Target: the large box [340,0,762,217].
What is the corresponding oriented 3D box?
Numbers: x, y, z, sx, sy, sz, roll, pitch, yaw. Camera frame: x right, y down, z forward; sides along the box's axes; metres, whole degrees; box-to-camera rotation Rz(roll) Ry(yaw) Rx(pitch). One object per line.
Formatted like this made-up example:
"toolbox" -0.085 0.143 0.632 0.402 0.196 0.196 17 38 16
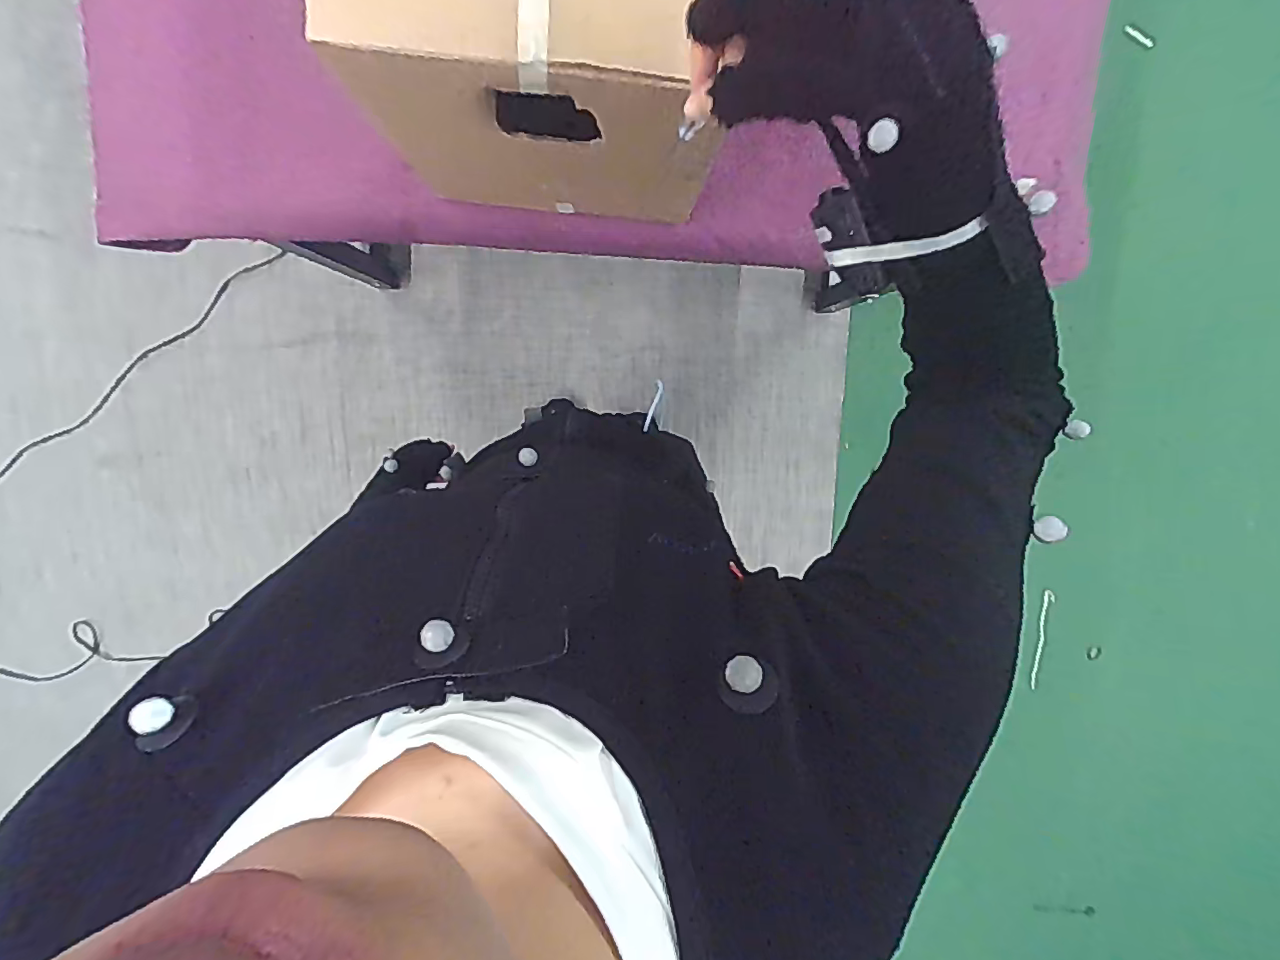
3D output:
"large box" -0.061 -0.522 0.516 0.320 0.320 0.408 5 100 -4
